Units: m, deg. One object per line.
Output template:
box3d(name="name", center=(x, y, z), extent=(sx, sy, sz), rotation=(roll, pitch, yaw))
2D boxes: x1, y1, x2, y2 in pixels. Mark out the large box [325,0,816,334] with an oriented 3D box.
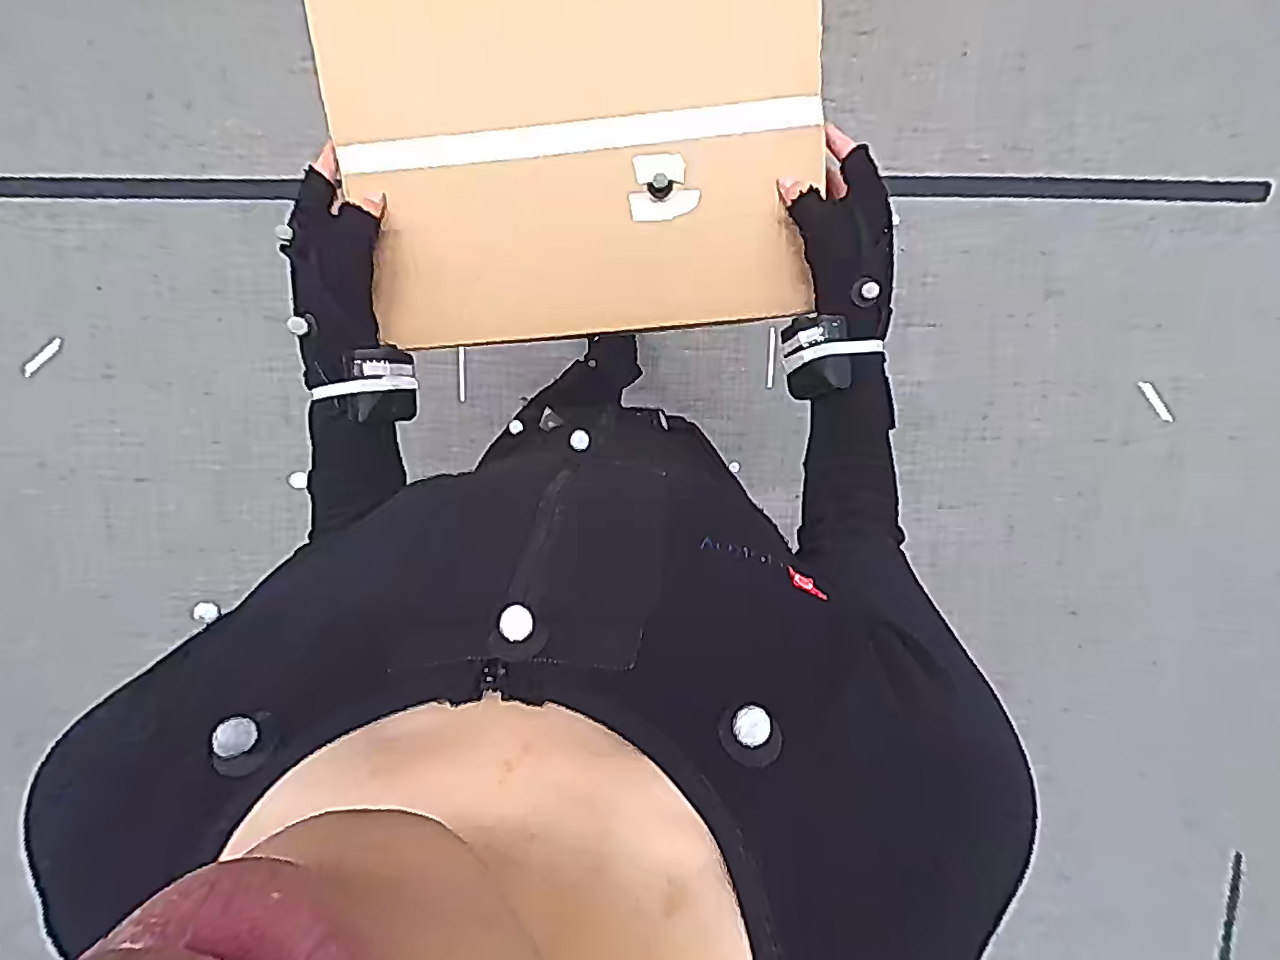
box3d(name="large box", center=(-0.051, -0.343, 0.606), extent=(0.408, 0.320, 0.320), rotation=(-4, 105, 2))
